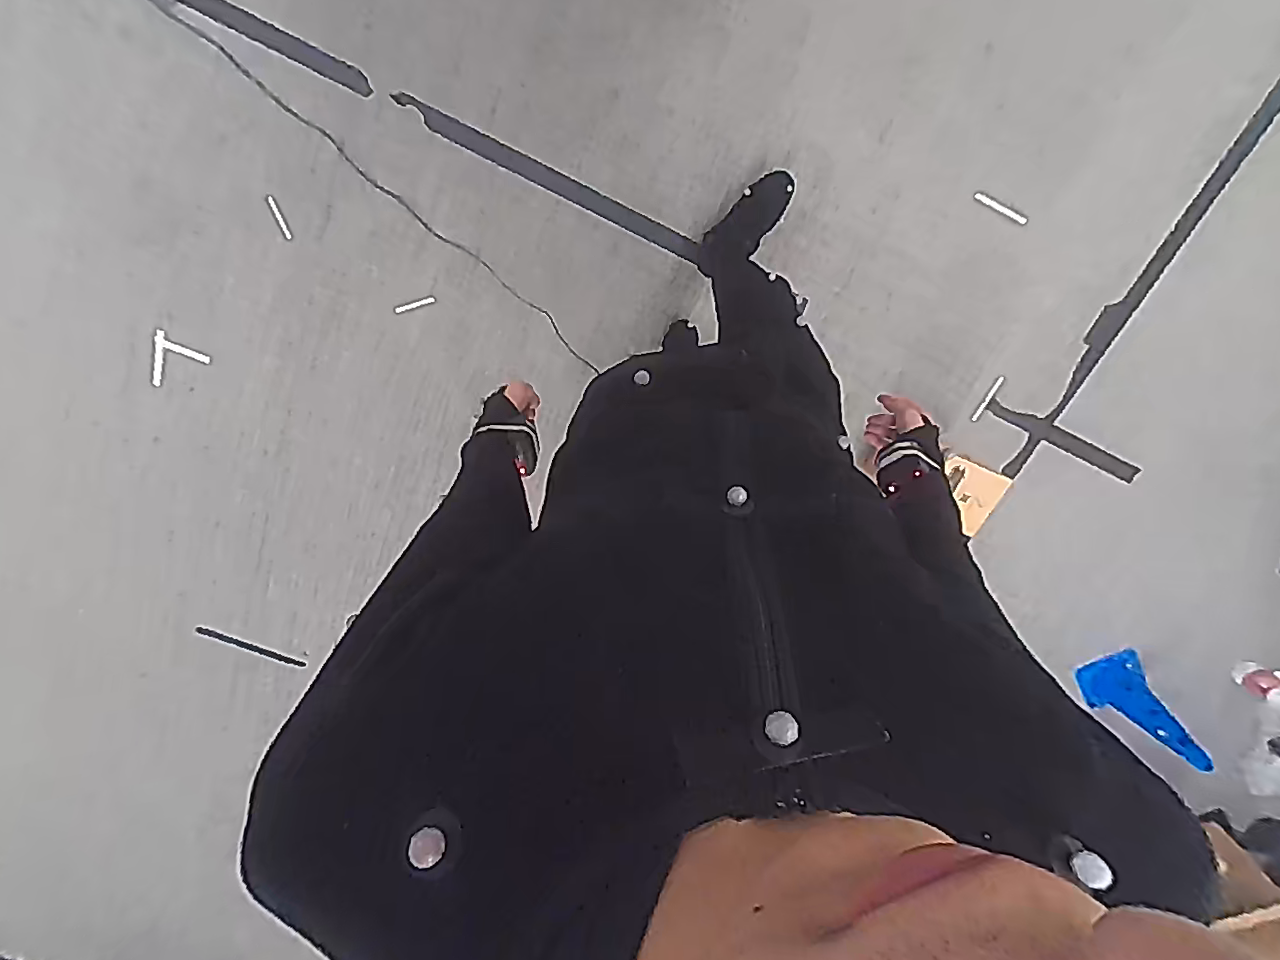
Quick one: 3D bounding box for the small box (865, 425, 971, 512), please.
[{"bbox_3d":[0.776,-0.039,1.527,0.179,0.176,0.168,20,110,-5],"label":"small box"}]
